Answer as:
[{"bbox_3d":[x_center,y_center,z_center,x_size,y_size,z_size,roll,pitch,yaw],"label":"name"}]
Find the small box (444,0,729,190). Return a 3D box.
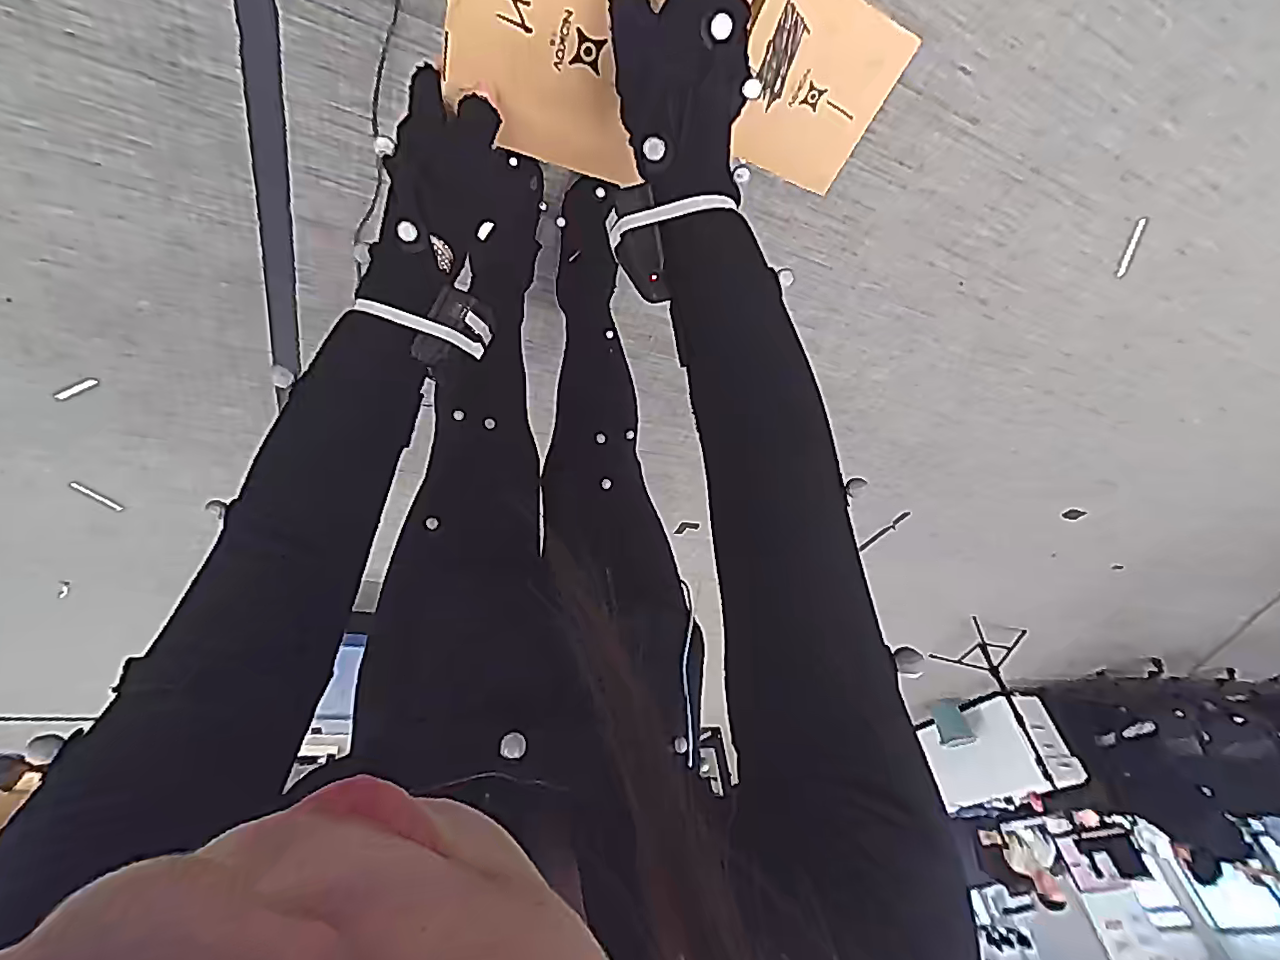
[{"bbox_3d":[-0.050,-0.373,0.428,0.179,0.176,0.168,8,142,-21],"label":"small box"}]

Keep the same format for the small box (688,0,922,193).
[{"bbox_3d":[0.168,-0.473,0.620,0.179,0.176,0.168,9,138,-23],"label":"small box"}]
